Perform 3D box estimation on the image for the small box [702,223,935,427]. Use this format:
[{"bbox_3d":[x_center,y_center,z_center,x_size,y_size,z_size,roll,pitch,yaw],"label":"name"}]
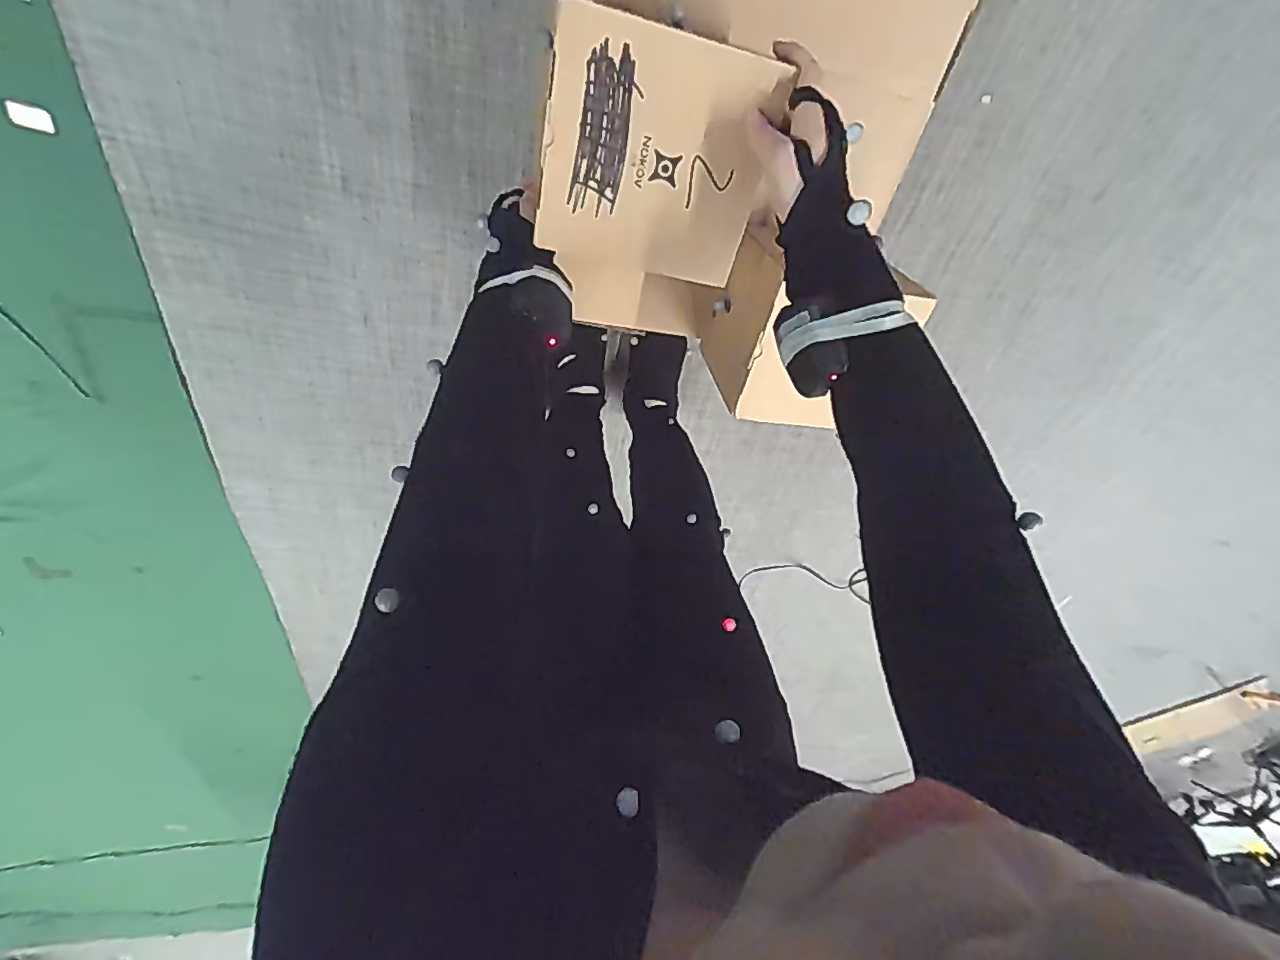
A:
[{"bbox_3d":[0.190,-0.183,0.635,0.179,0.176,0.168,5,129,-13],"label":"small box"}]
